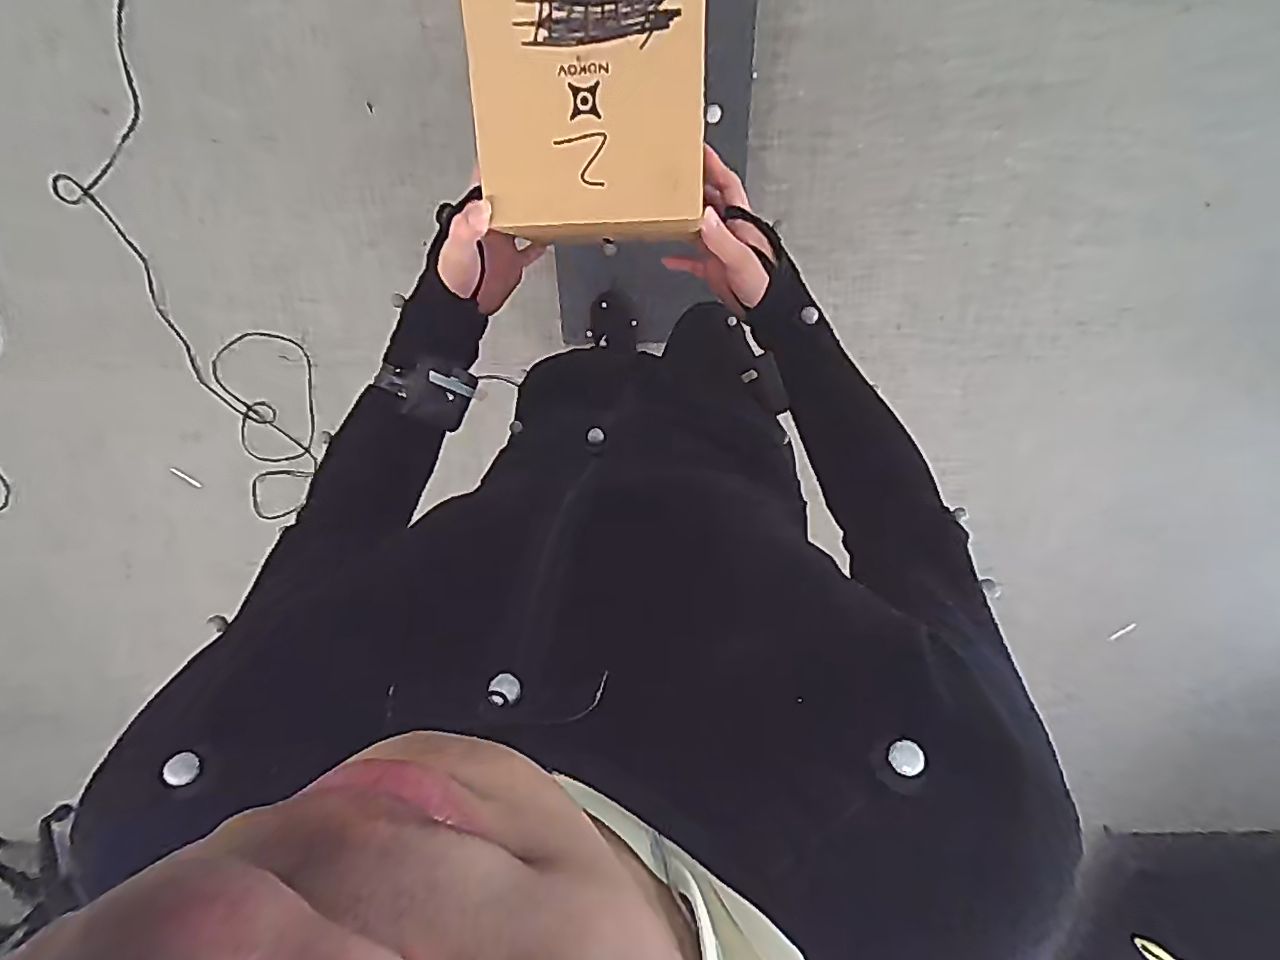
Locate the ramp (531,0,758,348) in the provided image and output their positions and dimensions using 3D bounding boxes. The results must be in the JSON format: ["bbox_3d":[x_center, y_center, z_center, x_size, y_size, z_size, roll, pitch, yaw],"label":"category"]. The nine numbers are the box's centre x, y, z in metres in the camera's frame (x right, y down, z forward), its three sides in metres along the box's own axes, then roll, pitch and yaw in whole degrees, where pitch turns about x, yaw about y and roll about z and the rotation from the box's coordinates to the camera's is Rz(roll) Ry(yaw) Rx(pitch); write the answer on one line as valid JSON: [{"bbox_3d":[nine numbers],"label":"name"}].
[{"bbox_3d":[0.019,-0.811,1.276,0.509,0.206,0.991,-4,110,-1],"label":"ramp"}]
